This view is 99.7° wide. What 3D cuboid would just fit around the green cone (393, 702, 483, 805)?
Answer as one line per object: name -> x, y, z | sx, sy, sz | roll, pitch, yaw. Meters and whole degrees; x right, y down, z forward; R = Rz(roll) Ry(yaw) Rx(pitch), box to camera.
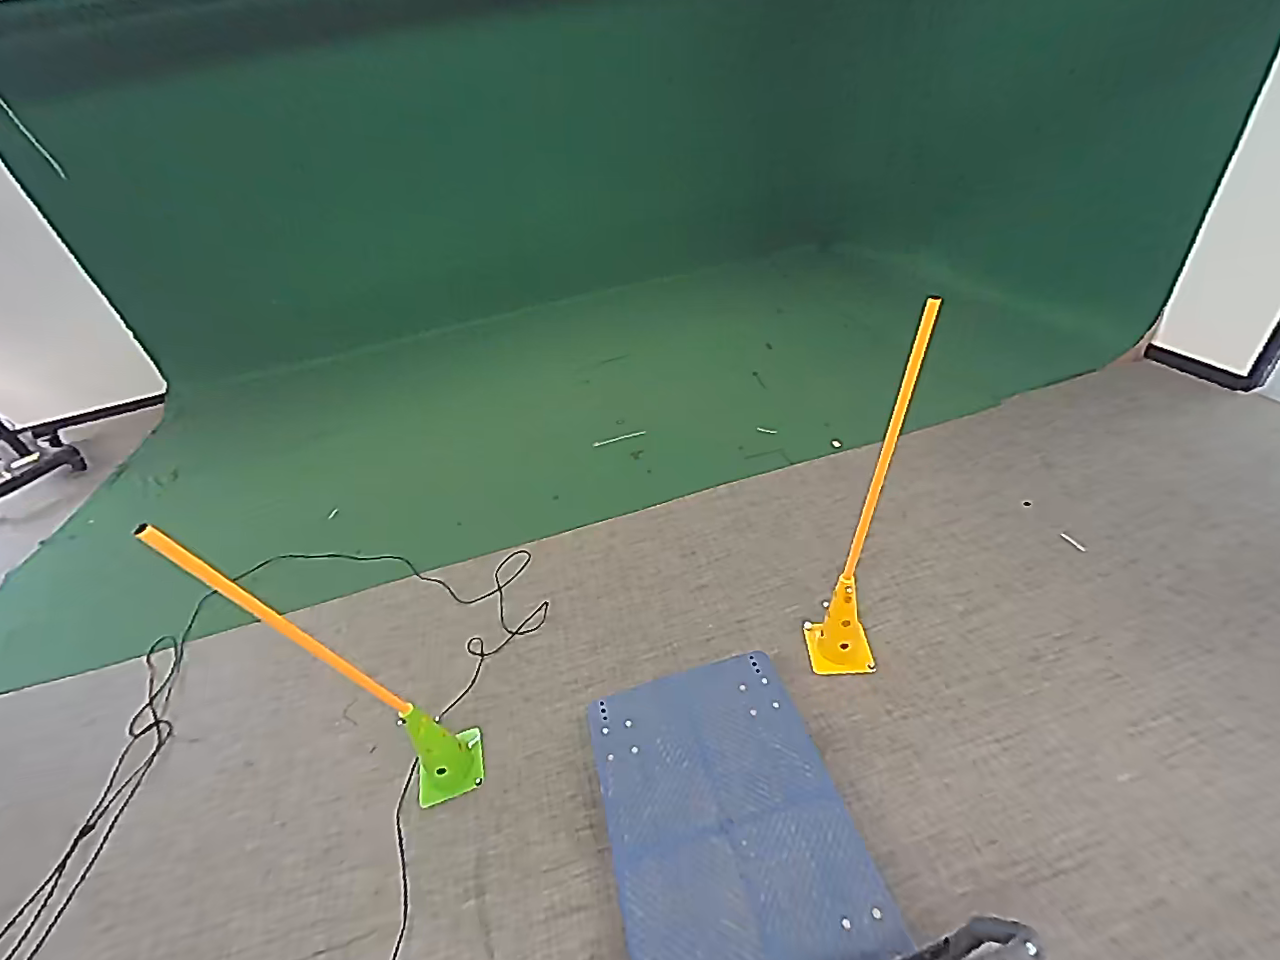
green cone -> -0.635, 0.771, 1.619 | 0.202, 0.368, 0.200 | -19, 38, -8
